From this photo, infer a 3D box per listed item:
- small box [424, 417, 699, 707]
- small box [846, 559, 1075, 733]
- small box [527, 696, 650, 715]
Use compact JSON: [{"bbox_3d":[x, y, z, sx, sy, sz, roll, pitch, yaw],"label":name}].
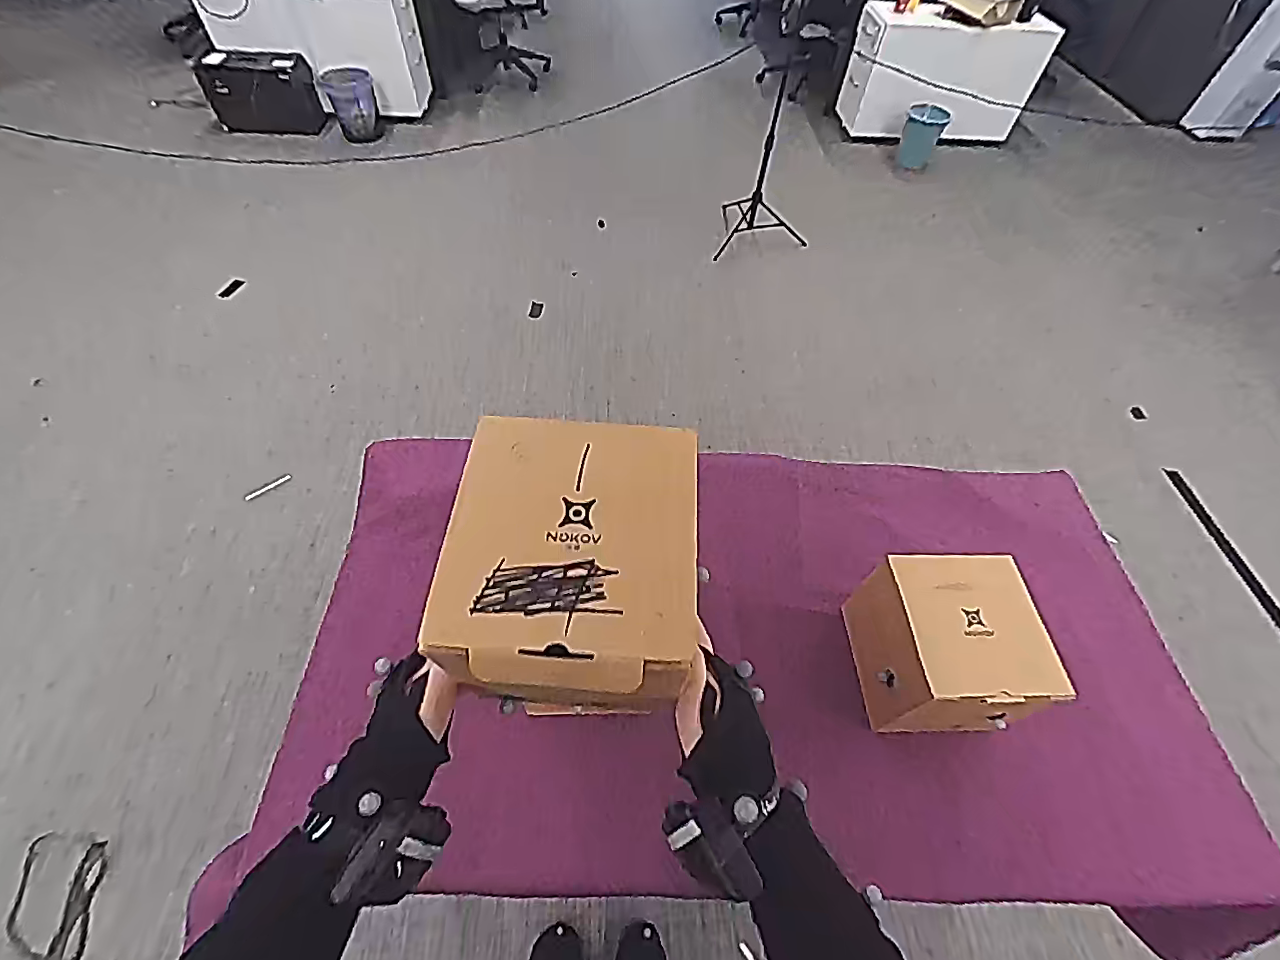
[{"bbox_3d":[-0.045,0.074,0.432,0.168,0.176,0.179,4,57,0],"label":"small box"},{"bbox_3d":[0.387,0.218,0.694,0.168,0.176,0.179,1,54,-3],"label":"small box"},{"bbox_3d":[-0.061,0.188,0.690,0.168,0.176,0.179,1,55,-3],"label":"small box"}]
